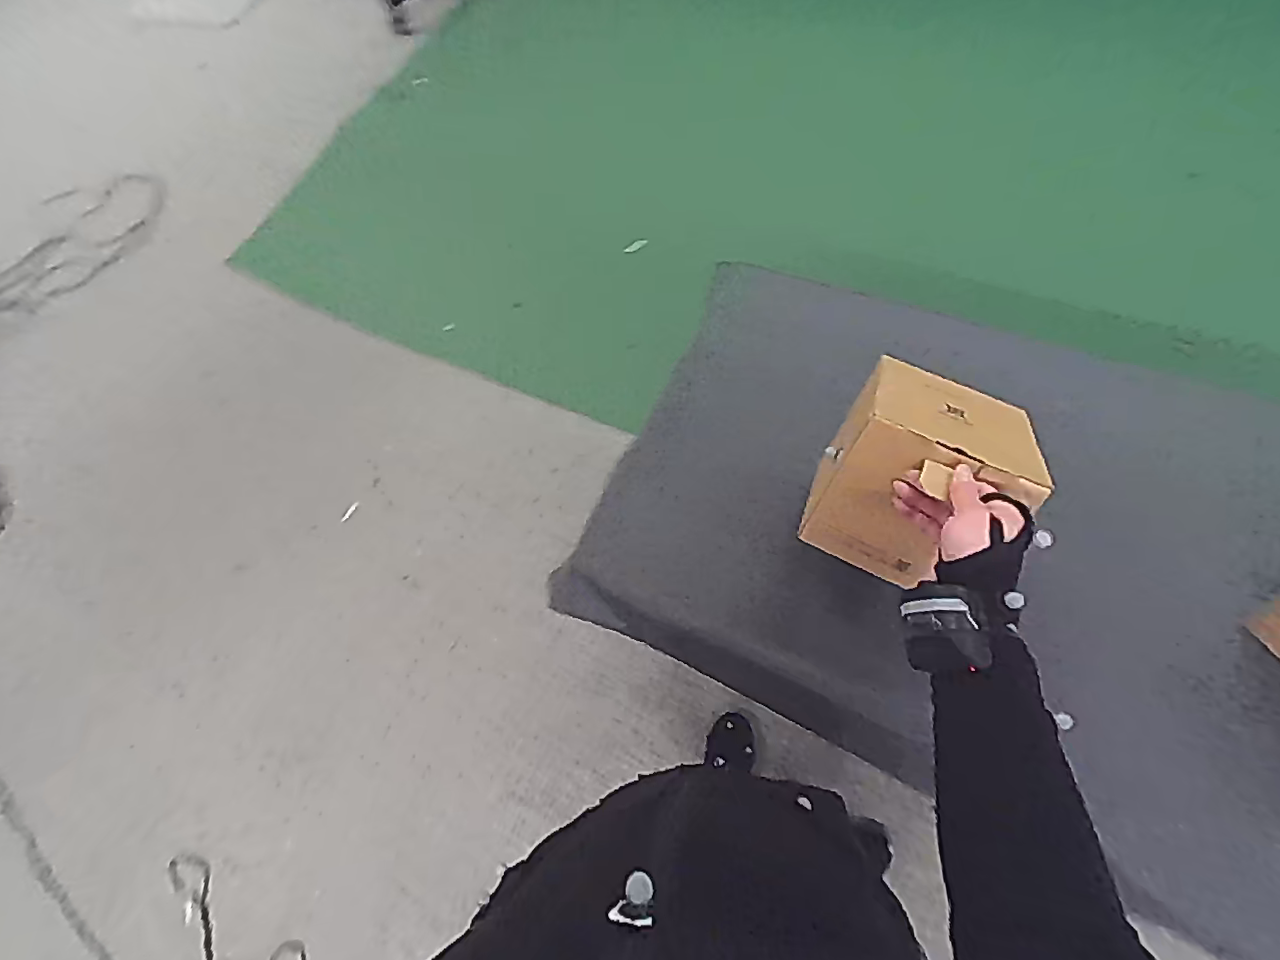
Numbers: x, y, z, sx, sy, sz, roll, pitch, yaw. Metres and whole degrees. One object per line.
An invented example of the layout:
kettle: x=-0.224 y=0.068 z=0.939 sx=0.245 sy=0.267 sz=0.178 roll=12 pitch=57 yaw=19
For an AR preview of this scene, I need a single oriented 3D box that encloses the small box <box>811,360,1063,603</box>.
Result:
small box: x=0.306 y=0.000 z=0.593 sx=0.168 sy=0.176 sz=0.179 roll=27 pitch=38 yaw=8
